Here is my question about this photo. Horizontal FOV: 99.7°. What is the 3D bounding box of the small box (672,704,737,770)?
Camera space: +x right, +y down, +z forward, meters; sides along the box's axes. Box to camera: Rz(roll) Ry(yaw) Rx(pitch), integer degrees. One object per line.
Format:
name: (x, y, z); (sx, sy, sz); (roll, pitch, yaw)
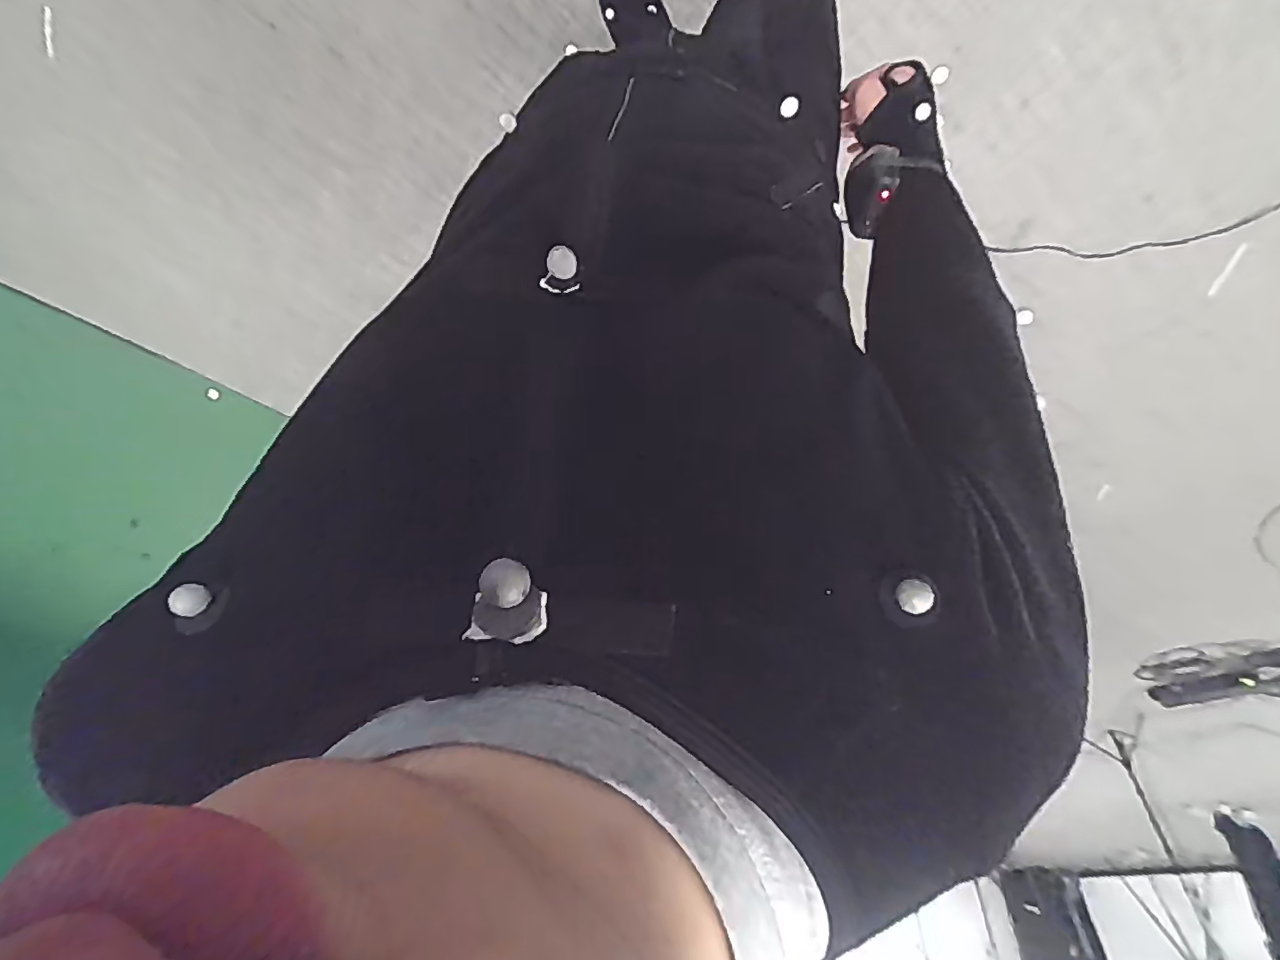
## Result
small box: (0.231, 0.931, 1.961); (0.168, 0.176, 0.179); (26, 135, -21)
